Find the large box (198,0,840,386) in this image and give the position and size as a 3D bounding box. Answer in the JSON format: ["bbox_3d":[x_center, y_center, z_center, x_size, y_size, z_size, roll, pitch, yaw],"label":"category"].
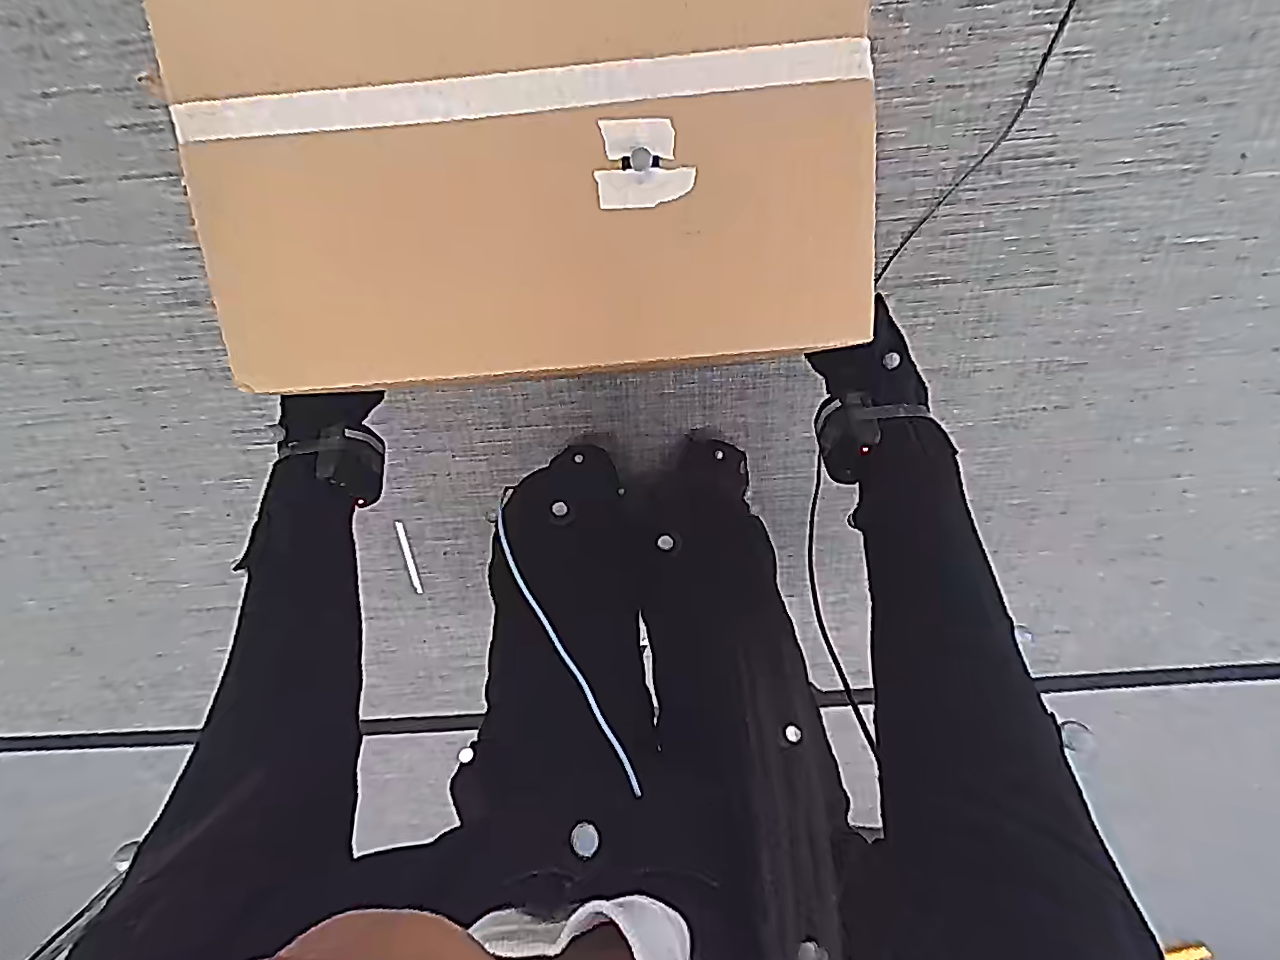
[{"bbox_3d":[-0.074,-0.261,0.497,0.408,0.320,0.320,-5,101,1],"label":"large box"}]
